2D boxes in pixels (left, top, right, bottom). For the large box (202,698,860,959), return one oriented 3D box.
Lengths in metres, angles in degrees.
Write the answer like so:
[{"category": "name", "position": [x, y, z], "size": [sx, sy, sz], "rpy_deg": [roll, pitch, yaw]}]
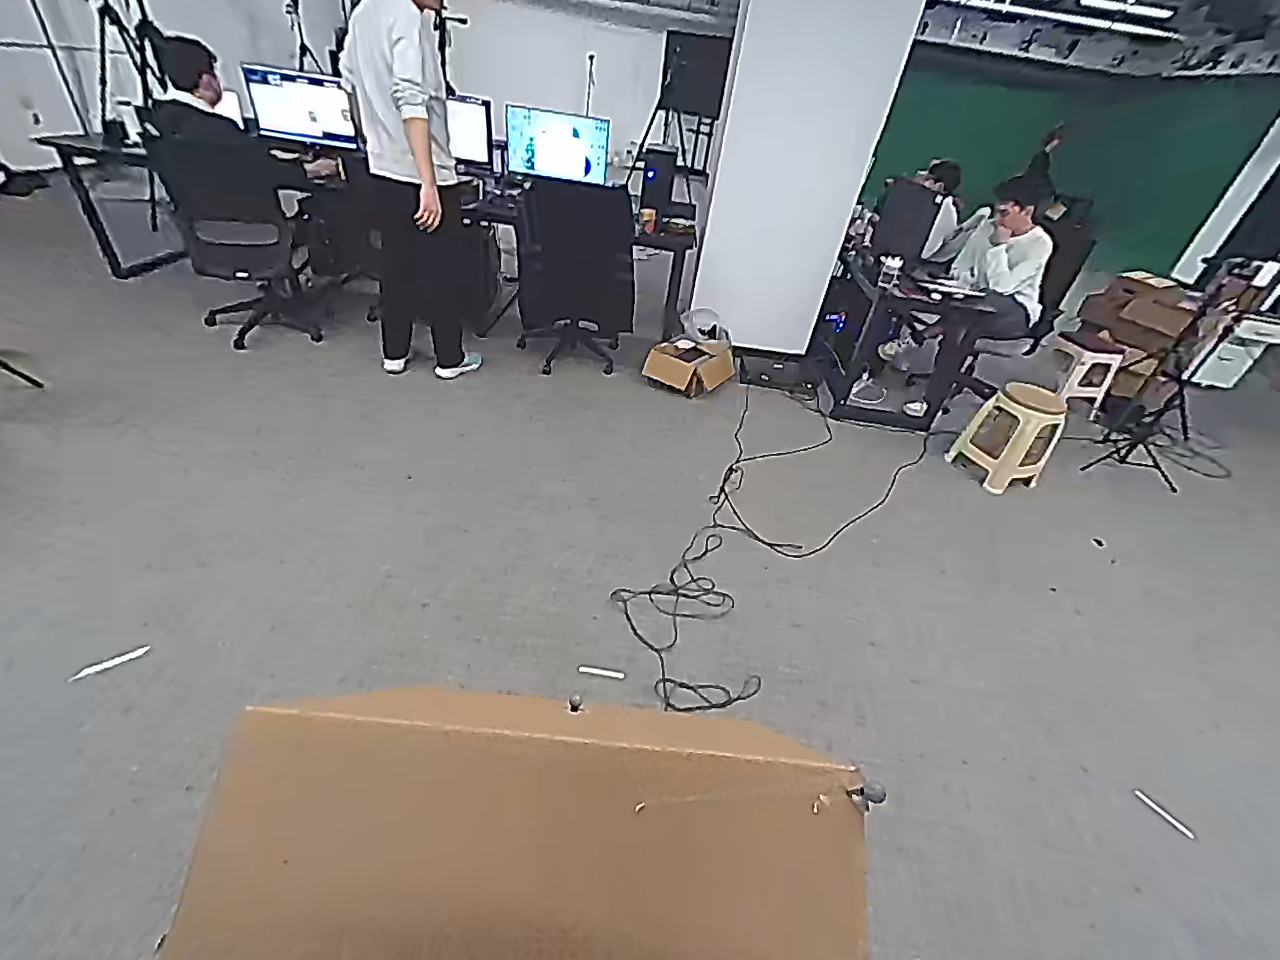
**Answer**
[{"category": "large box", "position": [-0.072, 0.367, 0.457], "size": [0.408, 0.320, 0.320], "rpy_deg": [5, 72, 1]}]
